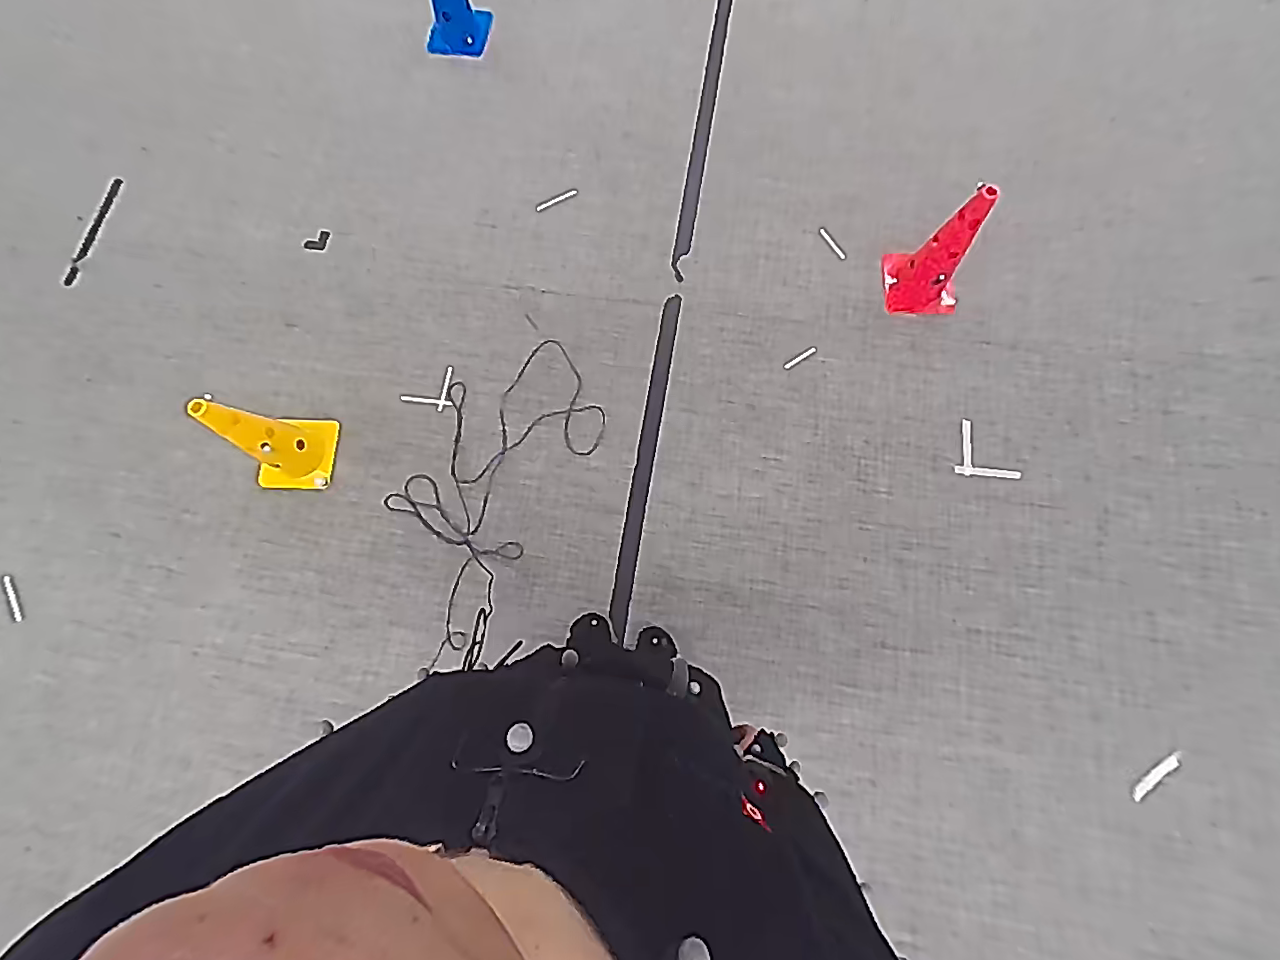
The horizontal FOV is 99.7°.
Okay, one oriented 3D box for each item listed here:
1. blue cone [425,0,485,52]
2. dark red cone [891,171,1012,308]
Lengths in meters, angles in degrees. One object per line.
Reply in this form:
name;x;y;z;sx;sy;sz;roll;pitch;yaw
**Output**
blue cone;-0.636;-1.575;1.684;0.192;0.380;0.193;9;76;5
dark red cone;0.811;-0.621;1.377;0.201;0.394;0.202;1;76;3
